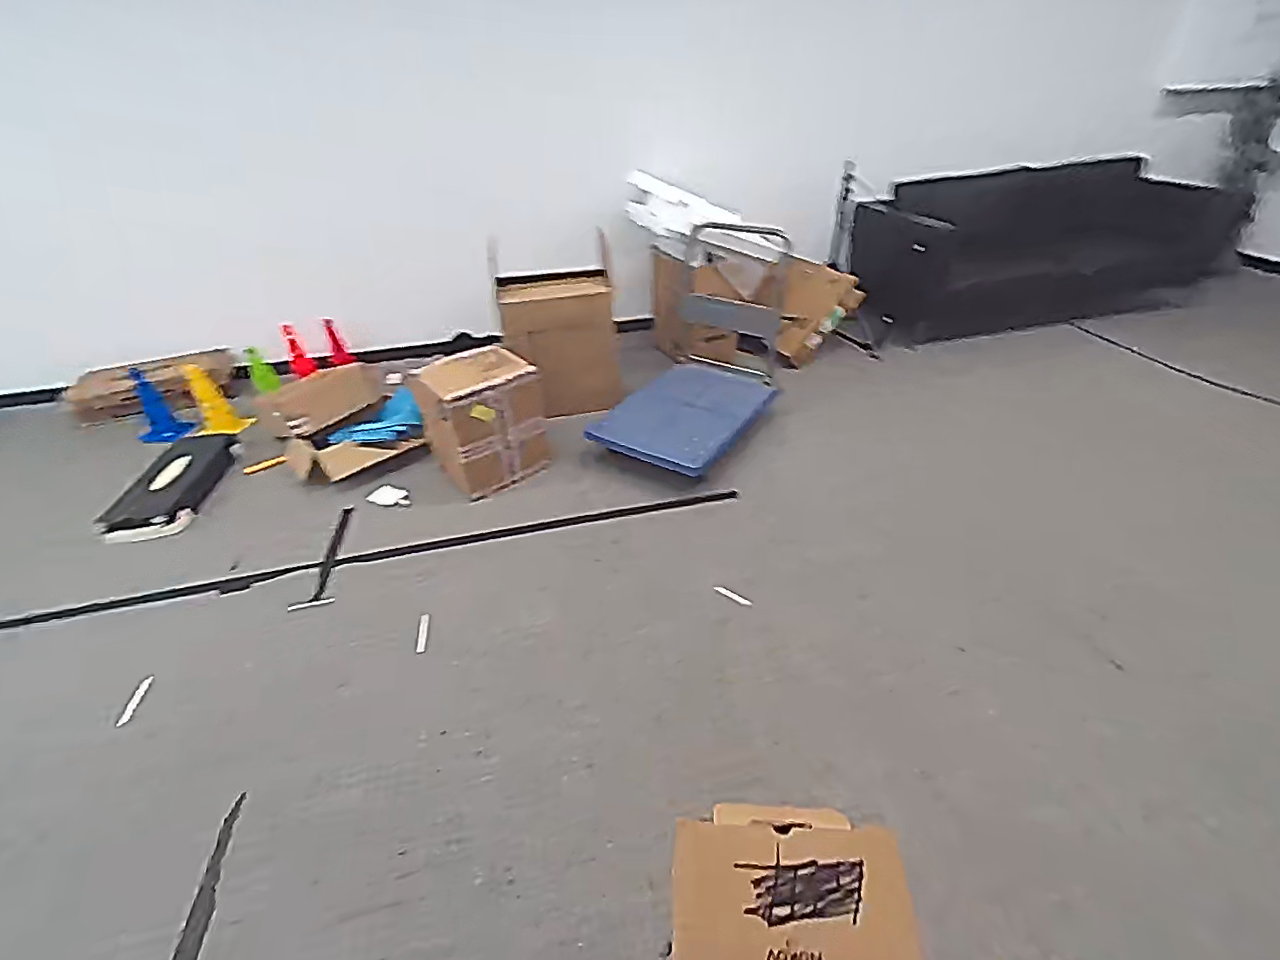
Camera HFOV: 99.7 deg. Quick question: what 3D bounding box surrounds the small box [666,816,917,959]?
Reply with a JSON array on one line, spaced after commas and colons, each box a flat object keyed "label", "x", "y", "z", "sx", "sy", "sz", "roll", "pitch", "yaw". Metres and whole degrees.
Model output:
[{"label": "small box", "x": 0.102, "y": 0.375, "z": 0.405, "sx": 0.168, "sy": 0.176, "sz": 0.179, "roll": -1, "pitch": 46, "yaw": 5}]
